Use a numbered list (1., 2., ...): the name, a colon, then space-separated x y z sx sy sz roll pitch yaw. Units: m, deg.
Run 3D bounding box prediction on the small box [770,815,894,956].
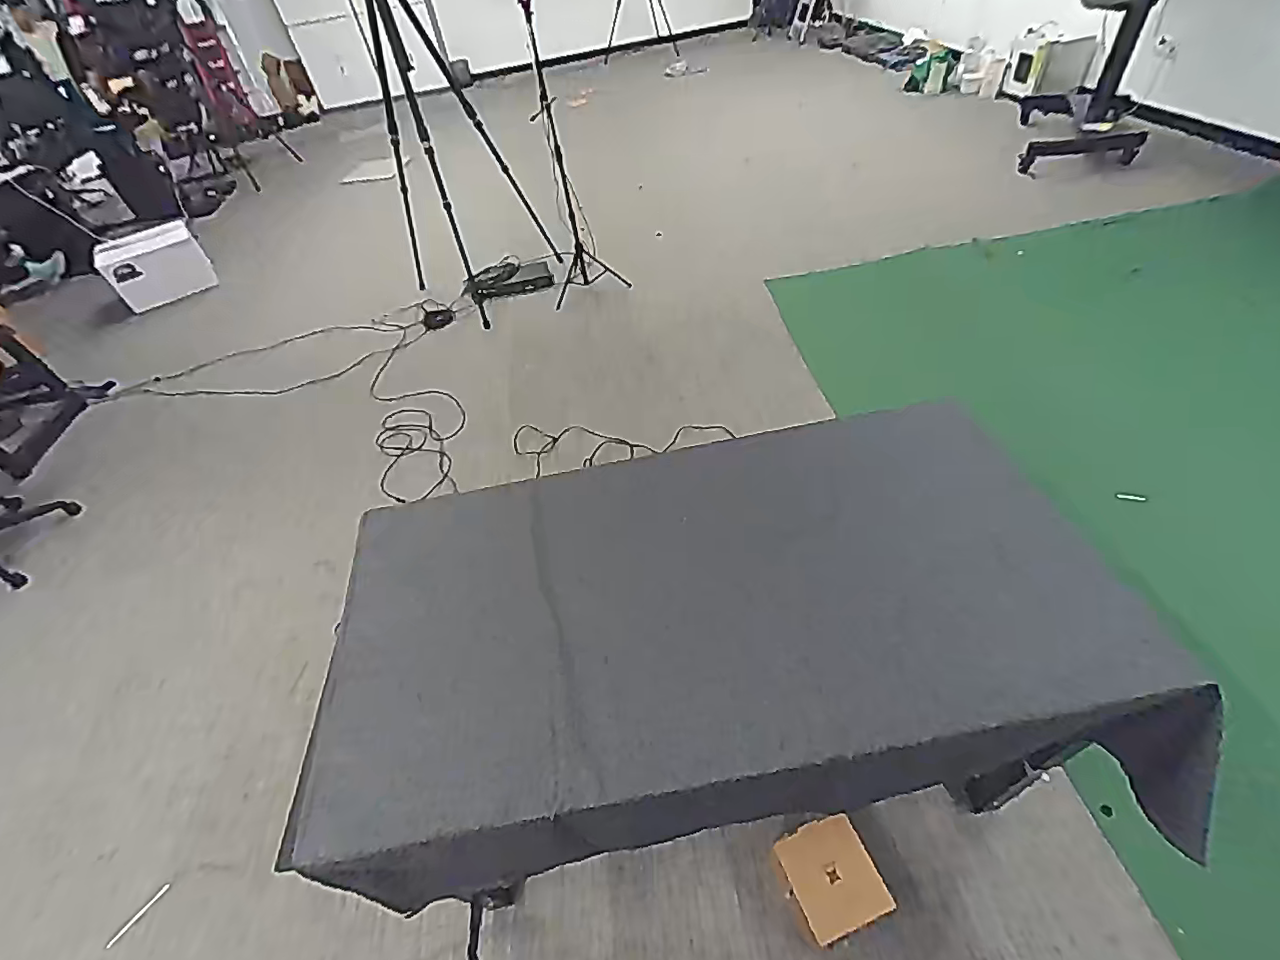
1. small box: 0.378 0.826 1.101 0.168 0.176 0.179 -20 46 -9
